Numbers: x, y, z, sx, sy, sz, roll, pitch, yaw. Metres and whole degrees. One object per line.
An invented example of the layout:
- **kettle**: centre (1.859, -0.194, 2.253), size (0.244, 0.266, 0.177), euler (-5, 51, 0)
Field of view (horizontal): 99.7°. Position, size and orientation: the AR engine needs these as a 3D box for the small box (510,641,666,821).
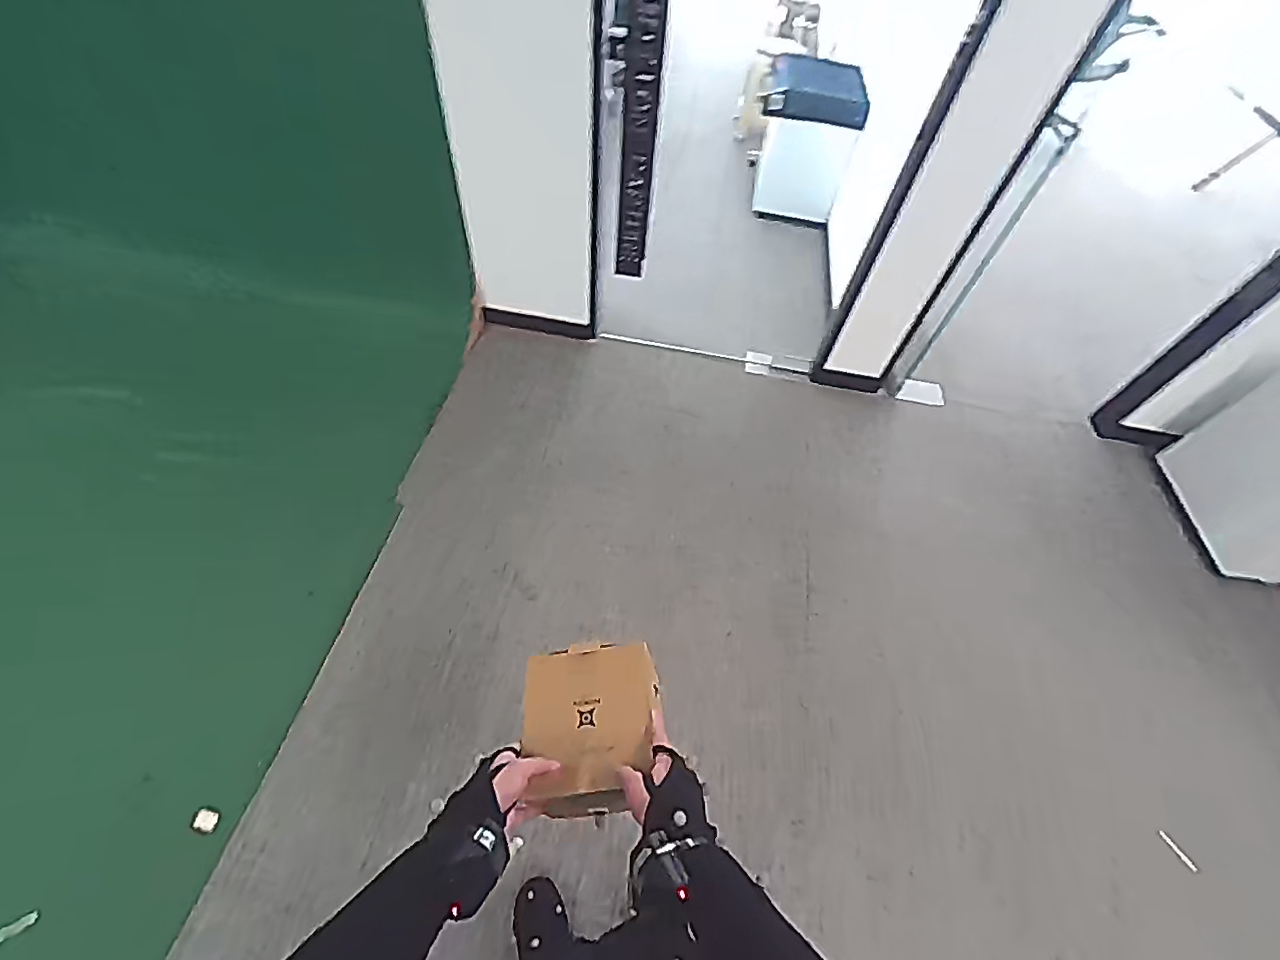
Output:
- **small box**: centre (-0.061, 0.338, 0.724), size (0.168, 0.176, 0.179), euler (-9, 51, 5)
